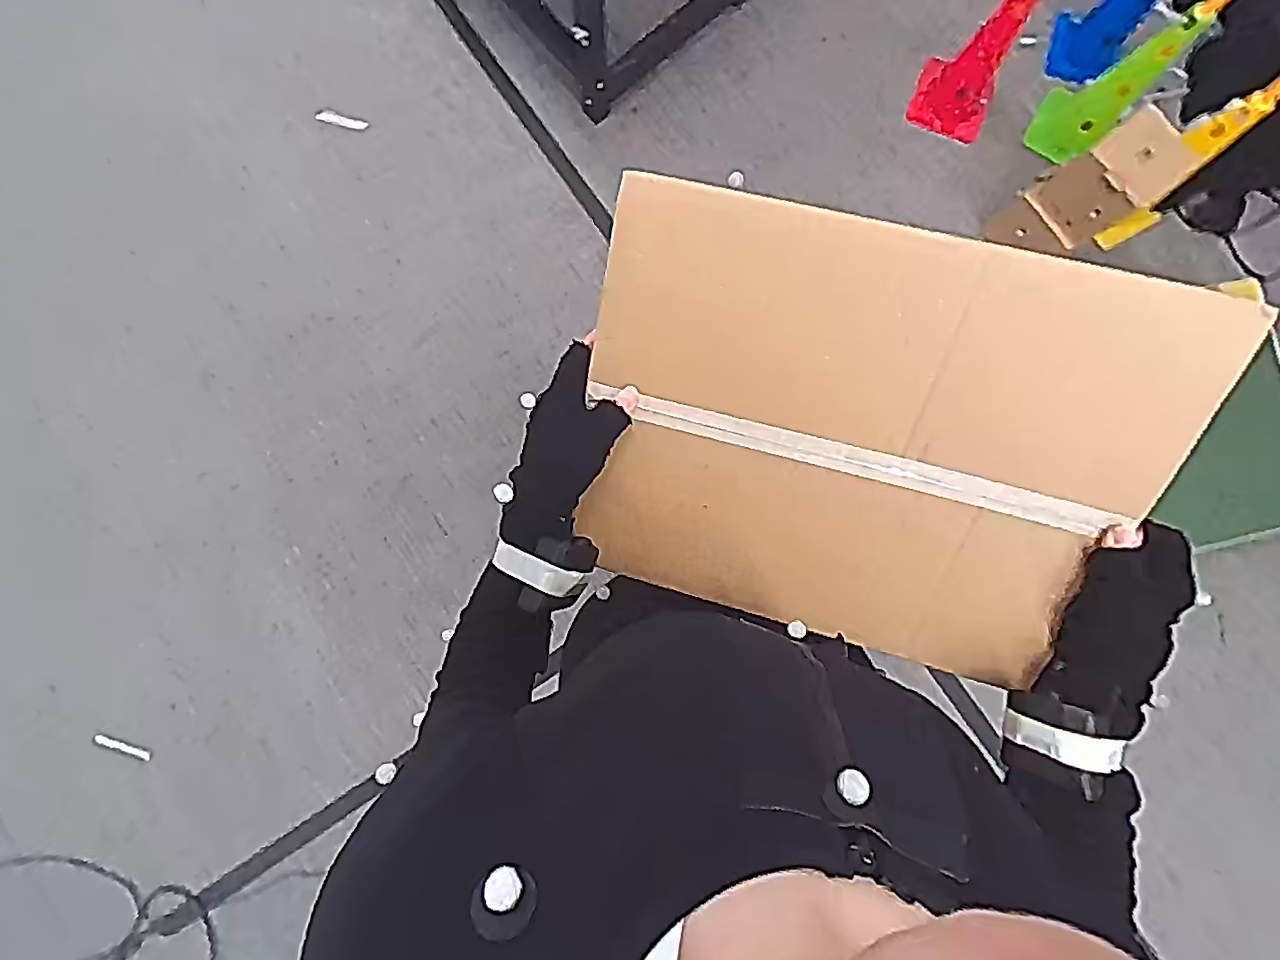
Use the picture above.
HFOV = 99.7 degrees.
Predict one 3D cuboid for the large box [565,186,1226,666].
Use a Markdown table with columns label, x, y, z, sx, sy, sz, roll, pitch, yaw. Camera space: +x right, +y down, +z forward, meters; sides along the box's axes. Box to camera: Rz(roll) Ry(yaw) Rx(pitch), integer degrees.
| label | x | y | z | sx | sy | sz | roll | pitch | yaw |
| --- | --- | --- | --- | --- | --- | --- | --- | --- | --- |
| large box | 0.174 | -0.080 | 0.550 | 0.408 | 0.320 | 0.320 | 15 | 116 | 6 |
